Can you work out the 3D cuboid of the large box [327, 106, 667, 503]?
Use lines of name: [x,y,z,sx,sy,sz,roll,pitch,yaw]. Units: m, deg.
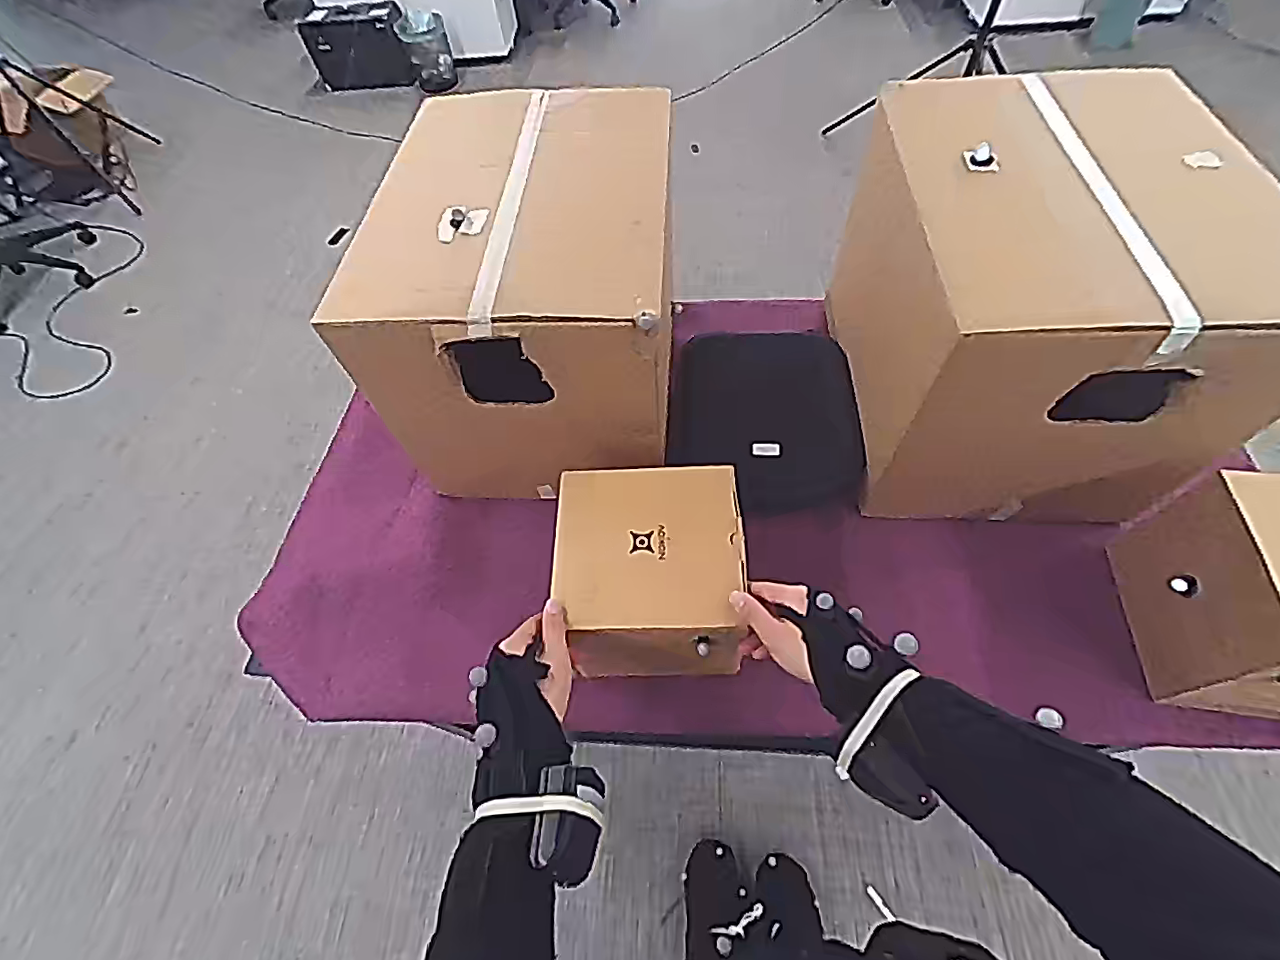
large box: [-0.122,-0.215,0.706,0.320,0.320,0.408,0,60,5]
